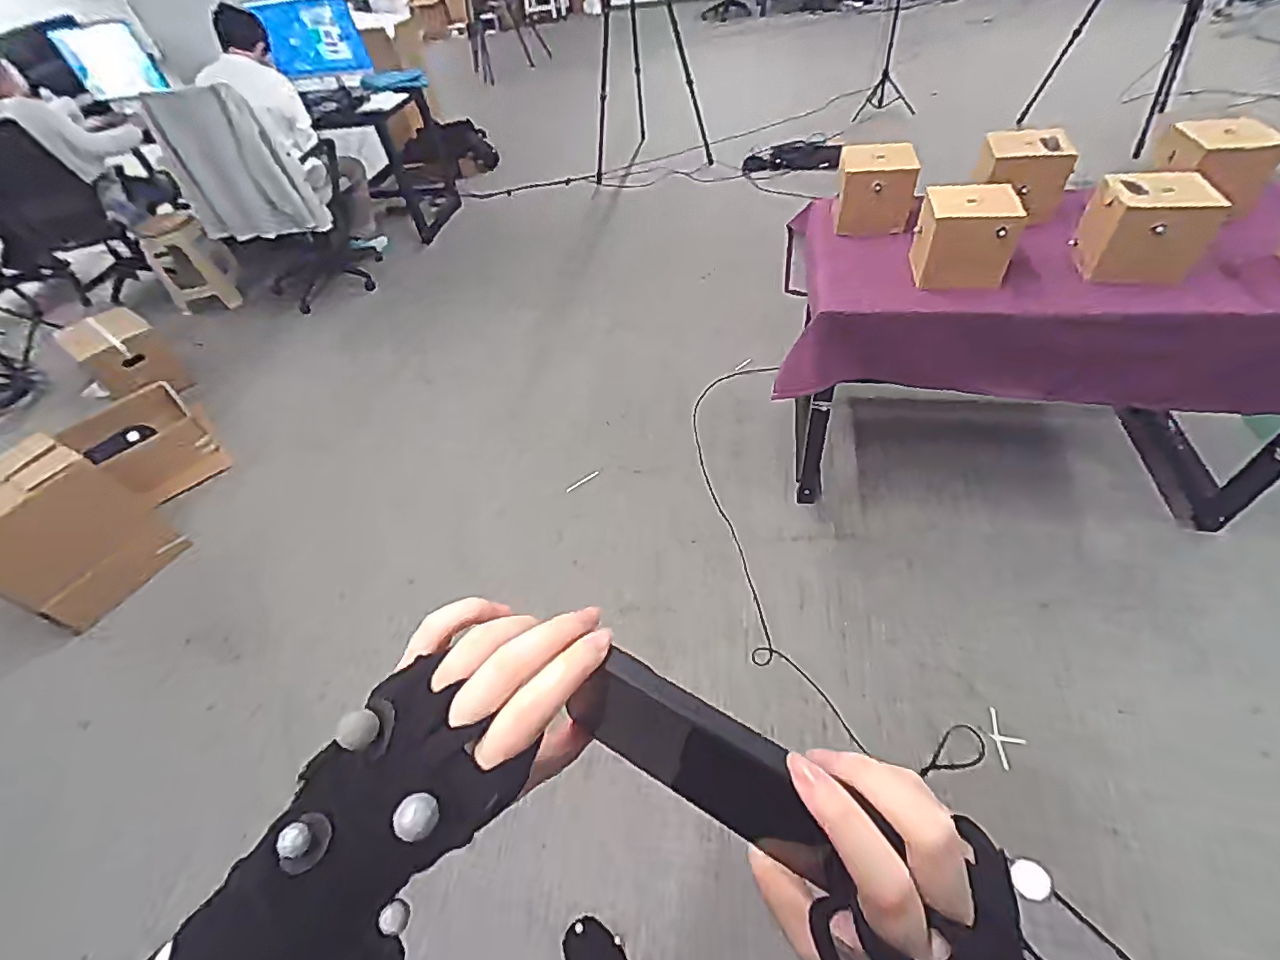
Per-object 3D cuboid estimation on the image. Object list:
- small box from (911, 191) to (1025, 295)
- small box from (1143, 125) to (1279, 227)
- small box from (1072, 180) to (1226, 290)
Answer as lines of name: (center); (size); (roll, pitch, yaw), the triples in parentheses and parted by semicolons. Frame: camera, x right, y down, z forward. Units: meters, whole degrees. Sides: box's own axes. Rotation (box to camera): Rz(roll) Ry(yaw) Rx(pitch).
small box: (0.736, -0.542, 1.240); (0.179, 0.176, 0.168); (6, 50, 12)
small box: (1.359, -0.730, 1.307); (0.168, 0.176, 0.179); (2, 50, 11)
small box: (1.083, -0.530, 1.176); (0.179, 0.176, 0.168); (7, 50, 13)
